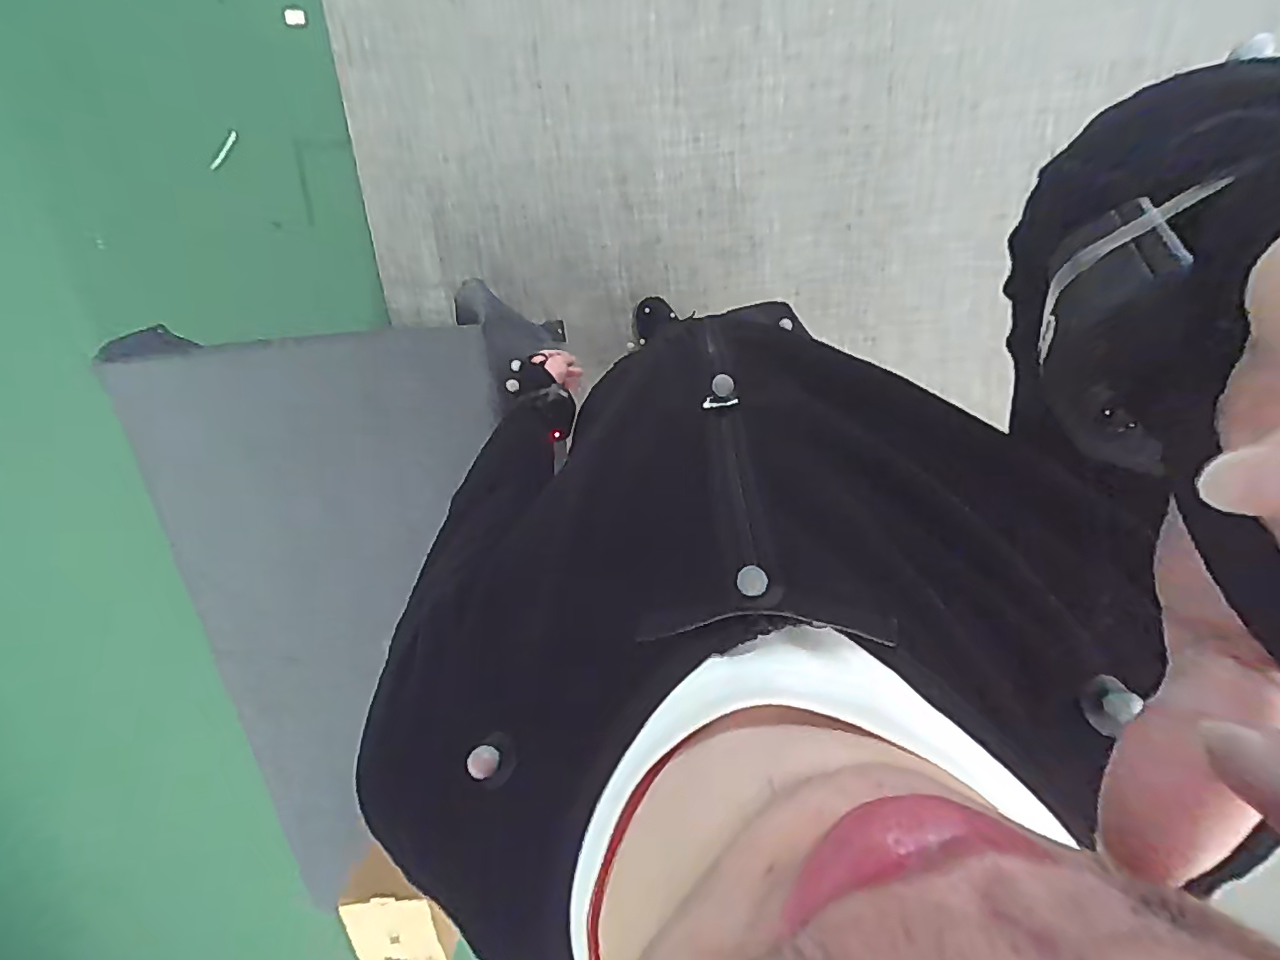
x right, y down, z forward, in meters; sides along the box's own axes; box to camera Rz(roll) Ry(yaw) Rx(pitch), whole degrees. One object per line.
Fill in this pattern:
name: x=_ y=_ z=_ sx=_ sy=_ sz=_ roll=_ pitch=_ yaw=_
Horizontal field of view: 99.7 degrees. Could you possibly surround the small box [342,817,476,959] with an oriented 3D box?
small box: x=-0.433 y=0.783 z=1.043 sx=0.168 sy=0.176 sz=0.179 roll=-5 pitch=107 yaw=5
